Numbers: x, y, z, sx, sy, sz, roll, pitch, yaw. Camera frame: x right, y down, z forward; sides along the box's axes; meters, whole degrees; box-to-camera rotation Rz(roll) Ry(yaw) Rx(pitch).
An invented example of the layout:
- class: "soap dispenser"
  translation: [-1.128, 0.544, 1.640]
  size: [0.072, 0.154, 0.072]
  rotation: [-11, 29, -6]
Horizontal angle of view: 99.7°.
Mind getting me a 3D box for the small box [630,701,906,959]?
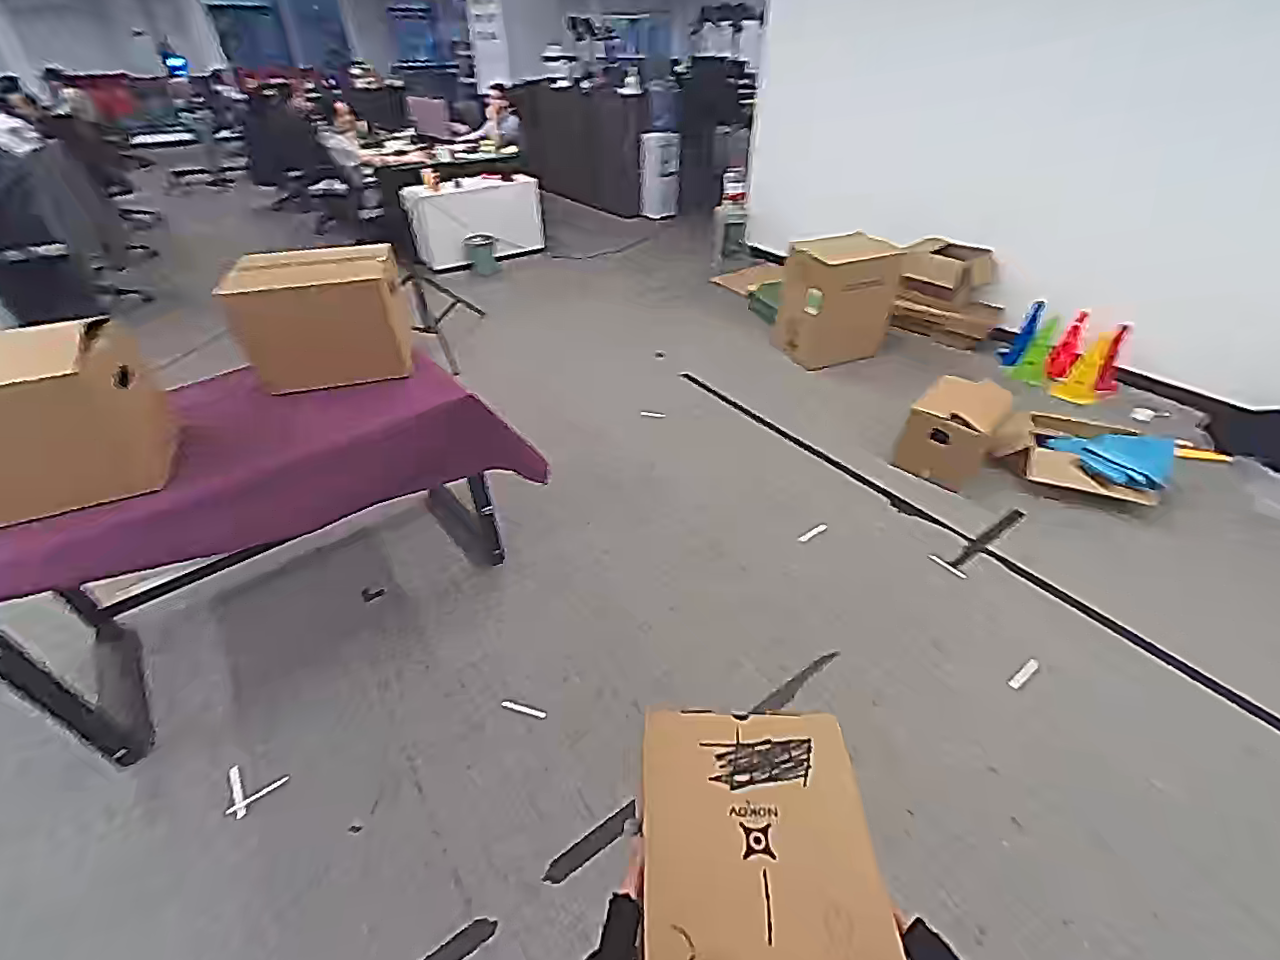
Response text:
- class: "small box"
  translation: [0.077, 0.304, 0.437]
  size: [0.168, 0.176, 0.179]
  rotation: [1, 39, -2]
